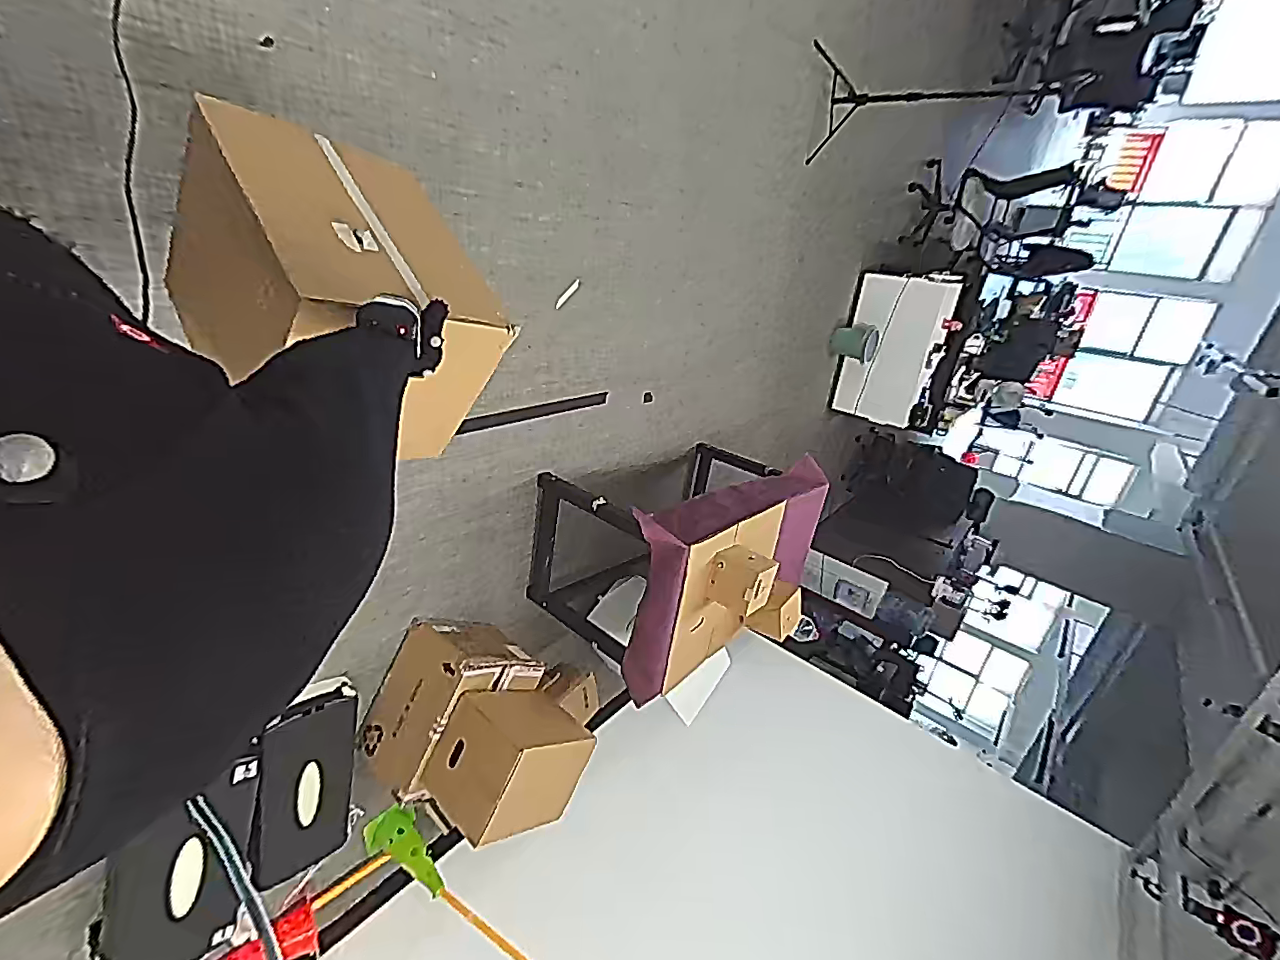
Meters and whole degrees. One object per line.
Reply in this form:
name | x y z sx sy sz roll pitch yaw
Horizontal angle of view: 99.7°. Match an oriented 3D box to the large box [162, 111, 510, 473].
large box | -0.493 -0.269 0.872 0.320 0.408 0.320 -45 161 32
